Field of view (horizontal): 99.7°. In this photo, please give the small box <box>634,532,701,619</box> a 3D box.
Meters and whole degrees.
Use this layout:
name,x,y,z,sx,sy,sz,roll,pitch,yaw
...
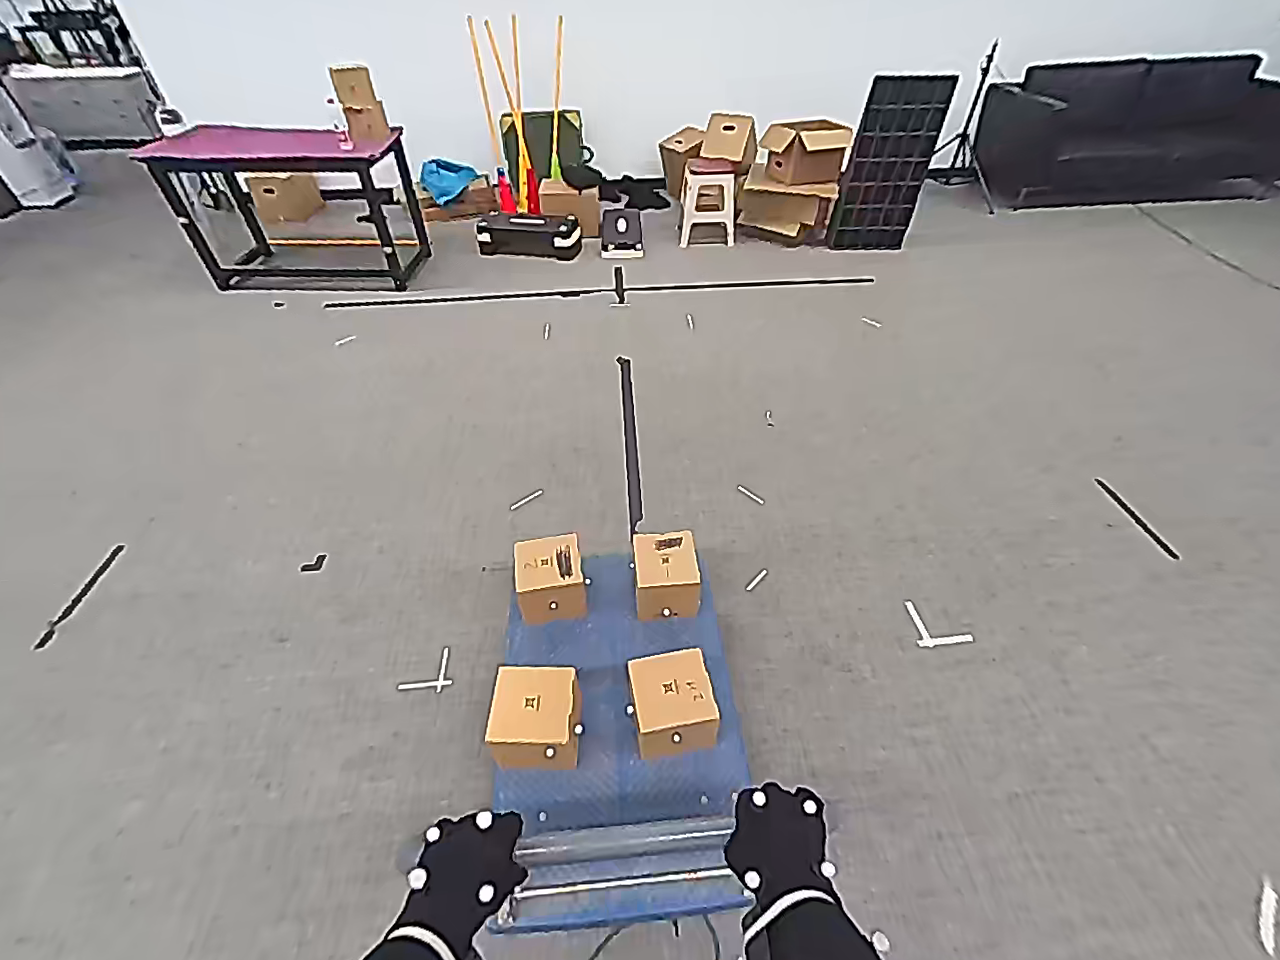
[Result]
name,x,y,z,sx,sy,sz,roll,pitch,yaw
small box,0.070,0.266,1.507,0.168,0.176,0.179,-4,46,-3

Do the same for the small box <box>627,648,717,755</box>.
name,x,y,z,sx,sy,sz,roll,pitch,yaw
small box,0.071,0.517,1.255,0.179,0.176,0.168,-8,45,-7

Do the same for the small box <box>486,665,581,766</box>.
name,x,y,z,sx,sy,sz,roll,pitch,yaw
small box,-0.235,0.541,1.238,0.179,0.176,0.168,1,45,0
